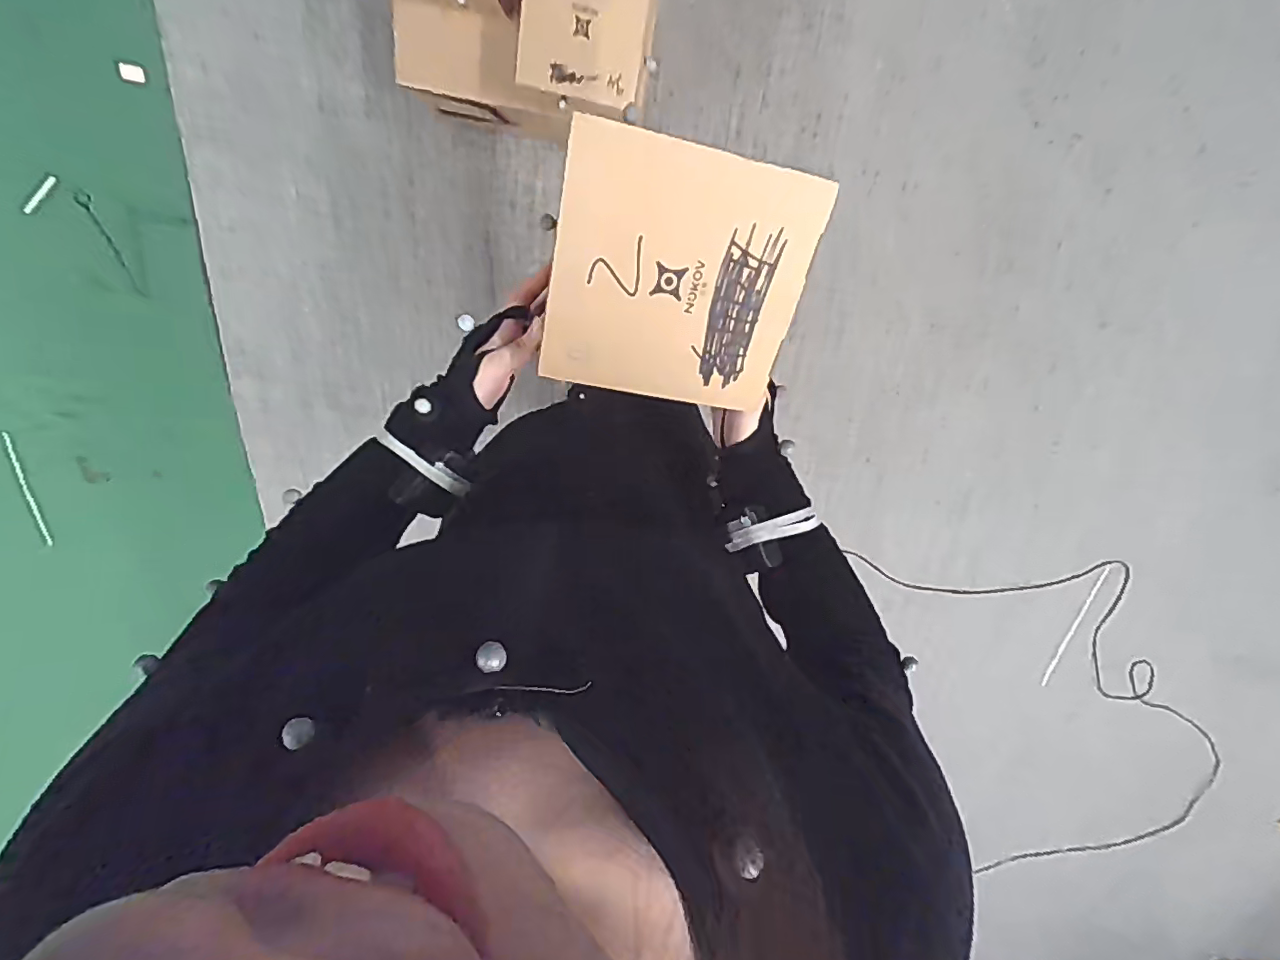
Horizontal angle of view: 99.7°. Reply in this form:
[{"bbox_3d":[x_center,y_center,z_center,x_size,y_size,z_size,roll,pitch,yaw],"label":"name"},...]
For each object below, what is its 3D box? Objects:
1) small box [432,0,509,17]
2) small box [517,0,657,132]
[{"bbox_3d":[-0.268,-0.770,0.726,0.168,0.176,0.179,9,113,-4],"label":"small box"},{"bbox_3d":[-0.071,-0.635,0.781,0.168,0.176,0.179,11,113,-5],"label":"small box"}]
